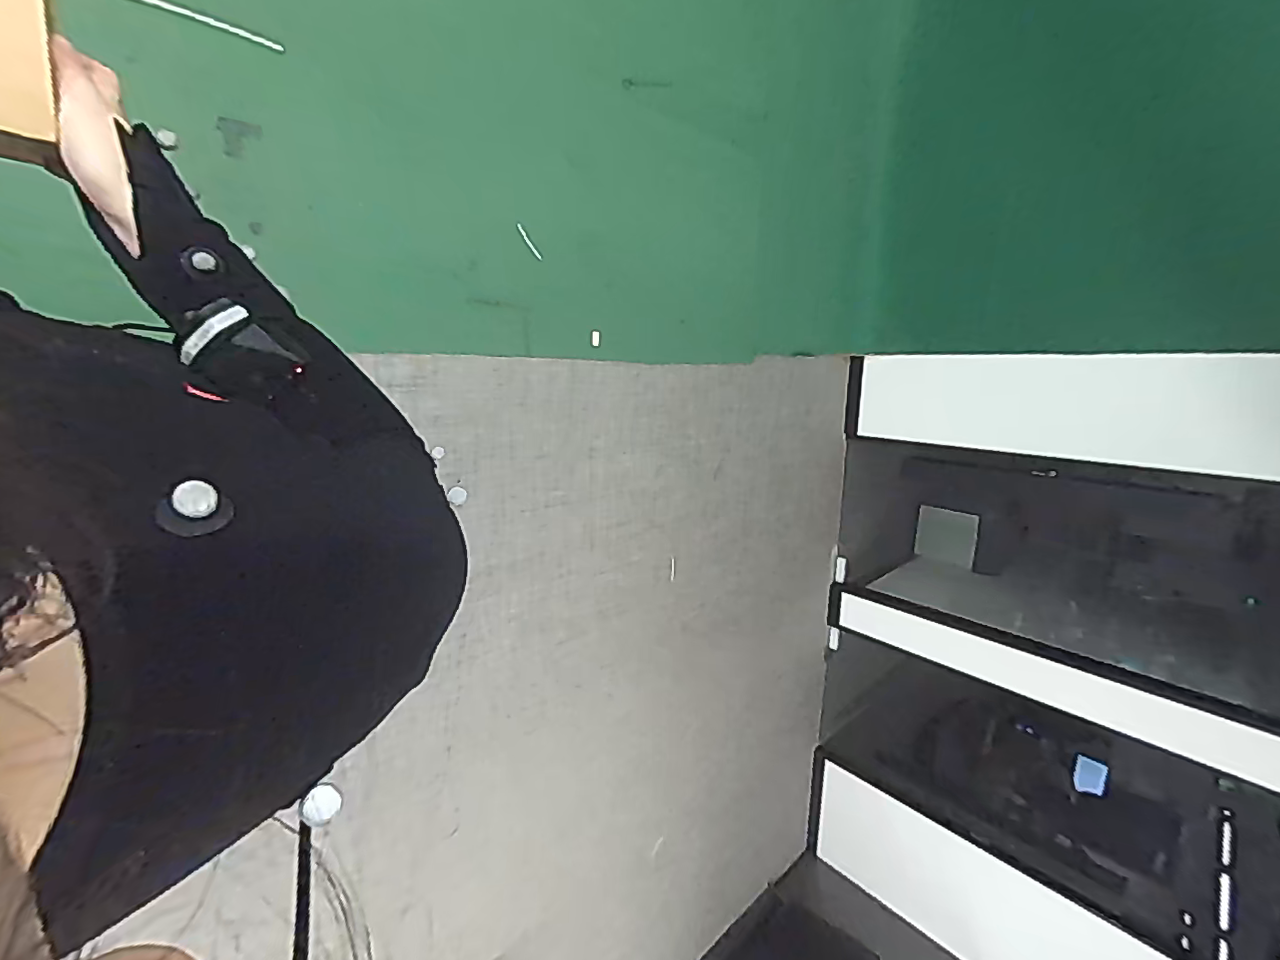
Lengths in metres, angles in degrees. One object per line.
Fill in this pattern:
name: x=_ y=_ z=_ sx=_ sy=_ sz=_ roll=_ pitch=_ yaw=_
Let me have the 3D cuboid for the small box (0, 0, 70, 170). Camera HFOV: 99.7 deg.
small box: x=-0.441 y=-0.292 z=0.296 sx=0.168 sy=0.176 sz=0.179 roll=-5 pitch=110 yaw=-44
